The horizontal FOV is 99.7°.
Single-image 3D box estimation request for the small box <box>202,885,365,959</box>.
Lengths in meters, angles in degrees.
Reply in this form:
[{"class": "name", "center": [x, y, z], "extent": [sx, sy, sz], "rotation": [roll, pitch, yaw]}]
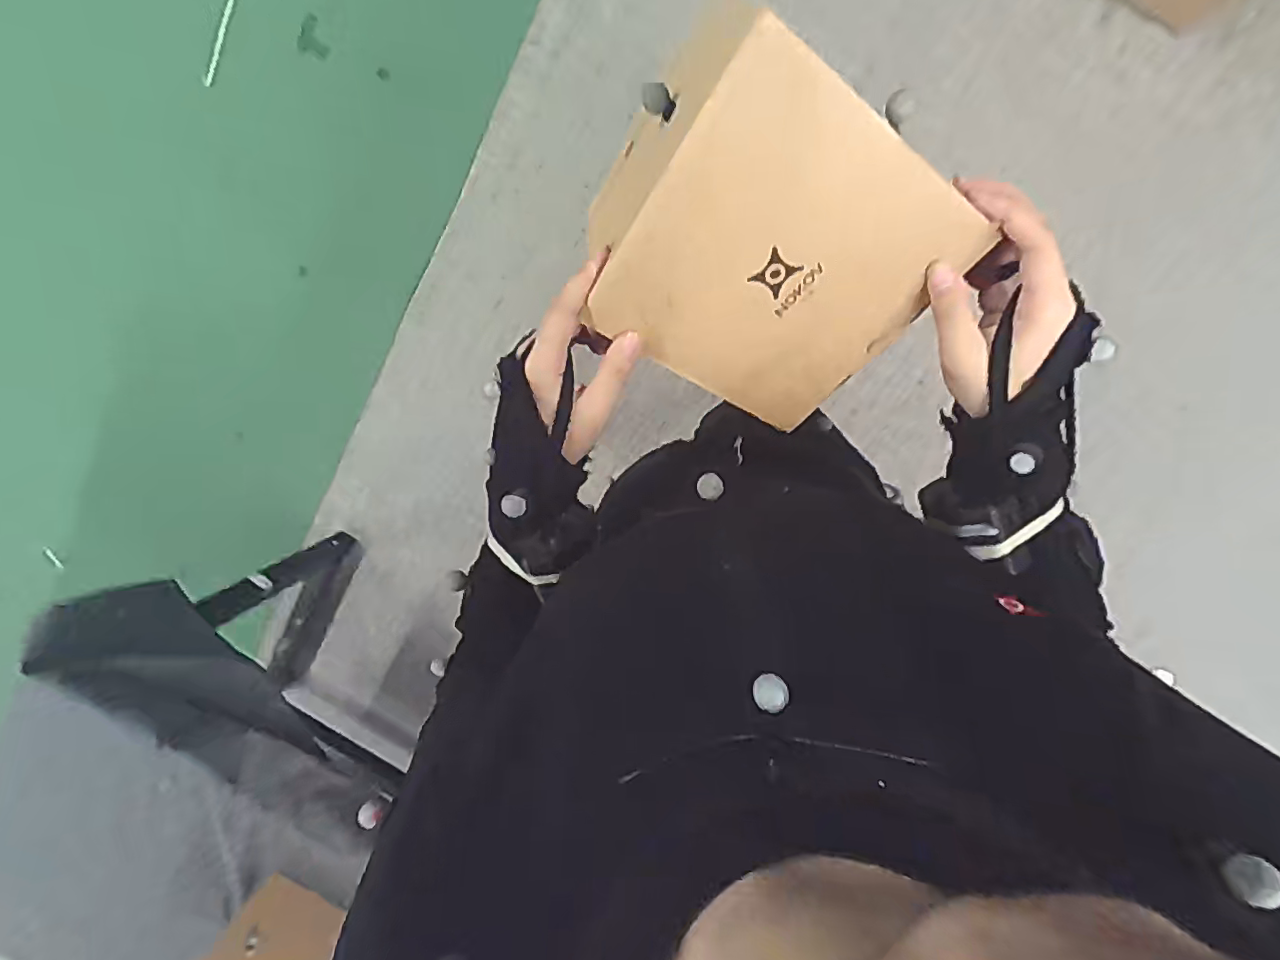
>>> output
[{"class": "small box", "center": [-0.542, 0.734, 0.775], "extent": [0.179, 0.176, 0.168], "rotation": [30, 106, -1]}]
